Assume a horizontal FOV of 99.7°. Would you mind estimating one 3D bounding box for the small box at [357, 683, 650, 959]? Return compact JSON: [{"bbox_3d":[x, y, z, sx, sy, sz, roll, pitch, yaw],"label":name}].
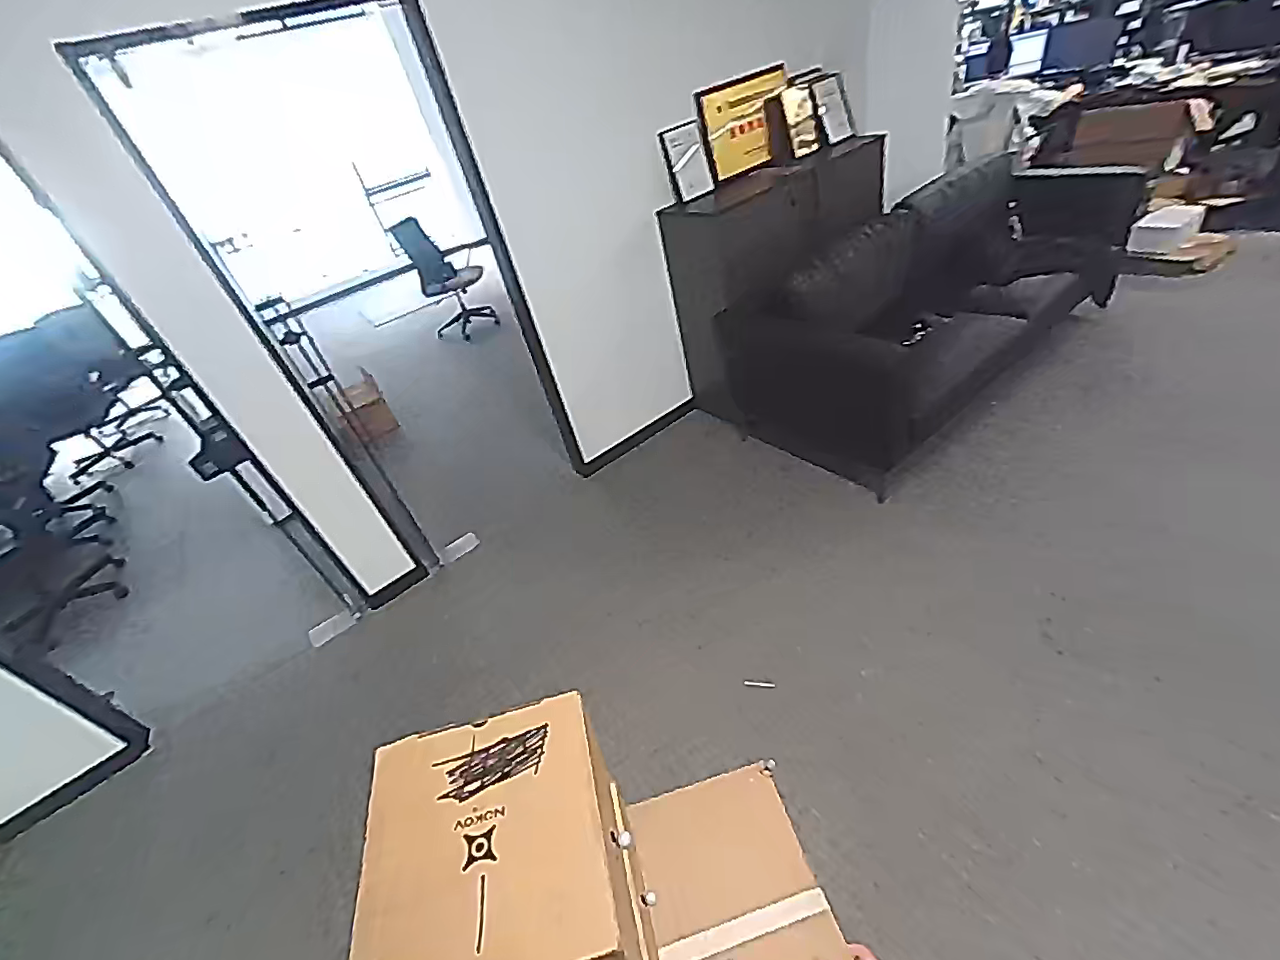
[{"bbox_3d":[-0.095,0.300,0.429,0.168,0.176,0.179,-14,40,-6],"label":"small box"}]
